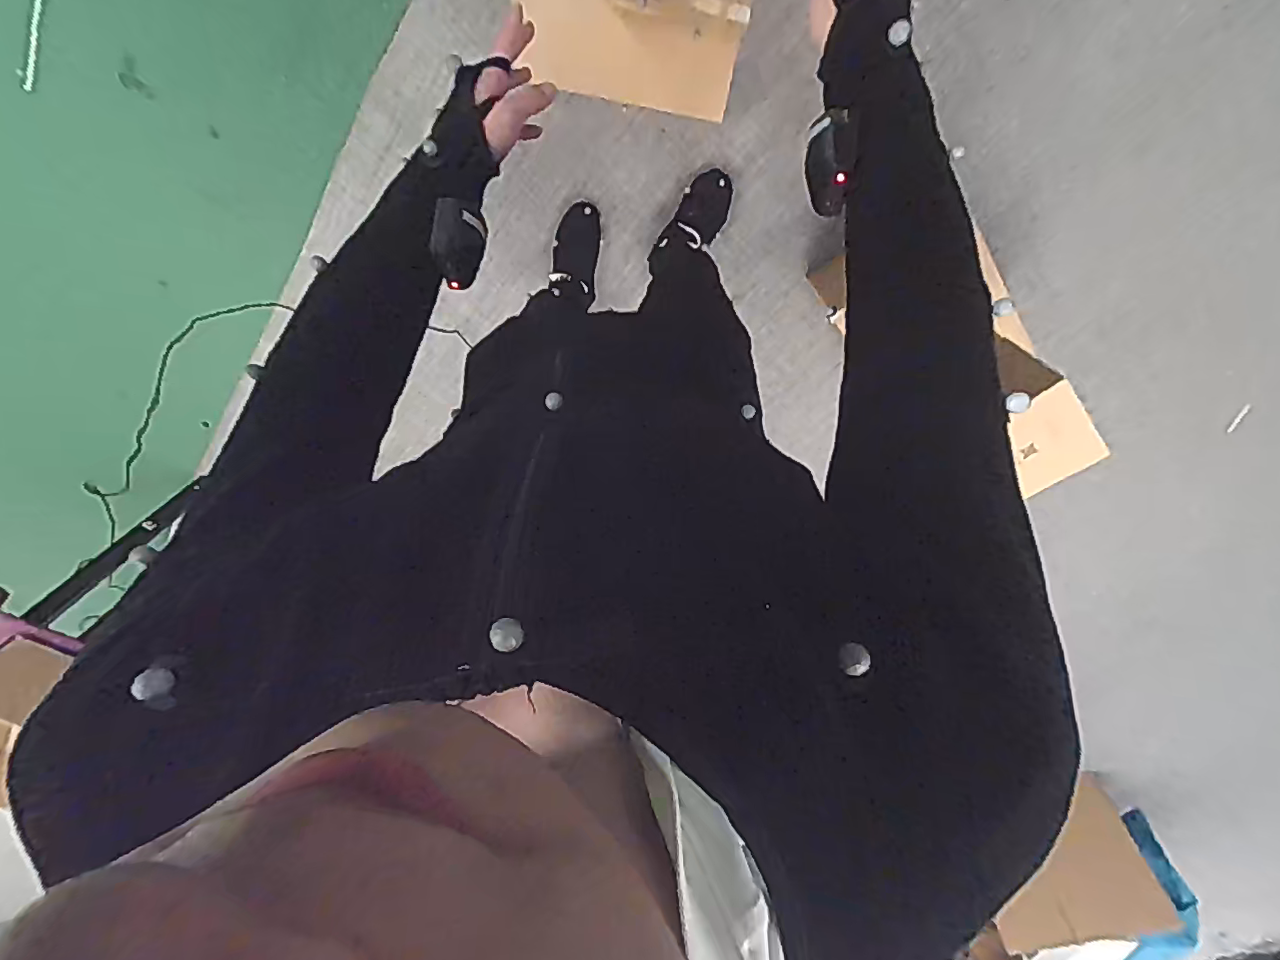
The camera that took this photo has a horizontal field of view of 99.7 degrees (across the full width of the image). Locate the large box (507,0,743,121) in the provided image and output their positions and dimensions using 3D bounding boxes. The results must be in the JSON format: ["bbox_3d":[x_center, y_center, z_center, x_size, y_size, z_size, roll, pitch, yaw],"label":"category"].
[{"bbox_3d":[-0.013,-0.905,1.033,0.408,0.320,0.320,10,124,-2],"label":"large box"}]

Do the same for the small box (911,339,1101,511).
[{"bbox_3d":[0.563,-0.089,0.862,0.179,0.176,0.168,-37,115,25],"label":"small box"}]

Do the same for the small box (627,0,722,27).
[{"bbox_3d":[0.039,-0.699,0.672,0.179,0.176,0.168,15,124,-7],"label":"small box"}]
